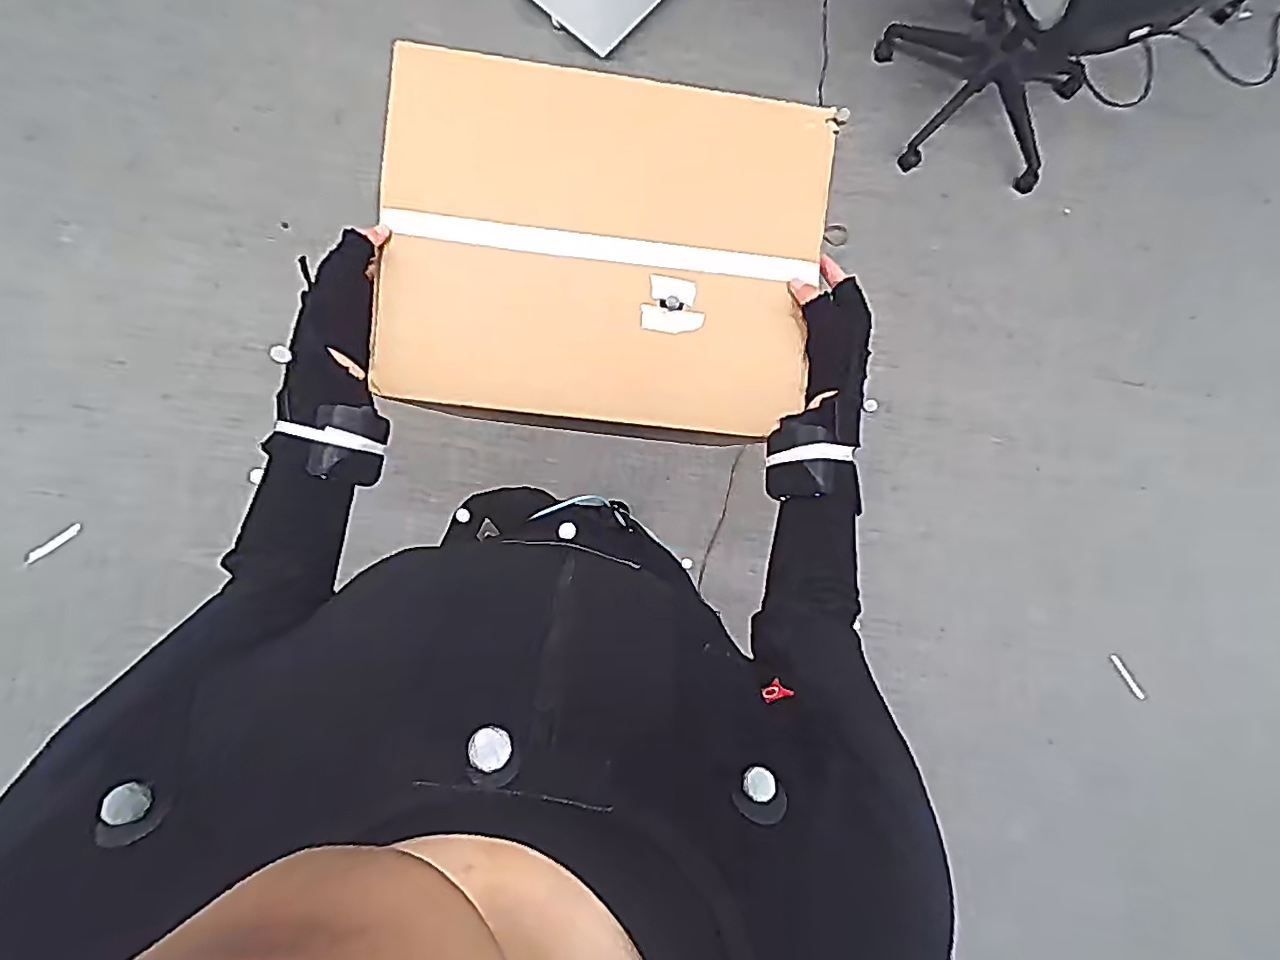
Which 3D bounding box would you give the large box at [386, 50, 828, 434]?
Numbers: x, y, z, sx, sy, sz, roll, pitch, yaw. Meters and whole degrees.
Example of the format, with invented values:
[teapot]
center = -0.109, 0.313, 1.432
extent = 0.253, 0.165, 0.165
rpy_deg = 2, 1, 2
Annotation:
[large box]
center = -0.042, -0.231, 0.660
extent = 0.408, 0.320, 0.320
rpy_deg = 6, 94, -5
